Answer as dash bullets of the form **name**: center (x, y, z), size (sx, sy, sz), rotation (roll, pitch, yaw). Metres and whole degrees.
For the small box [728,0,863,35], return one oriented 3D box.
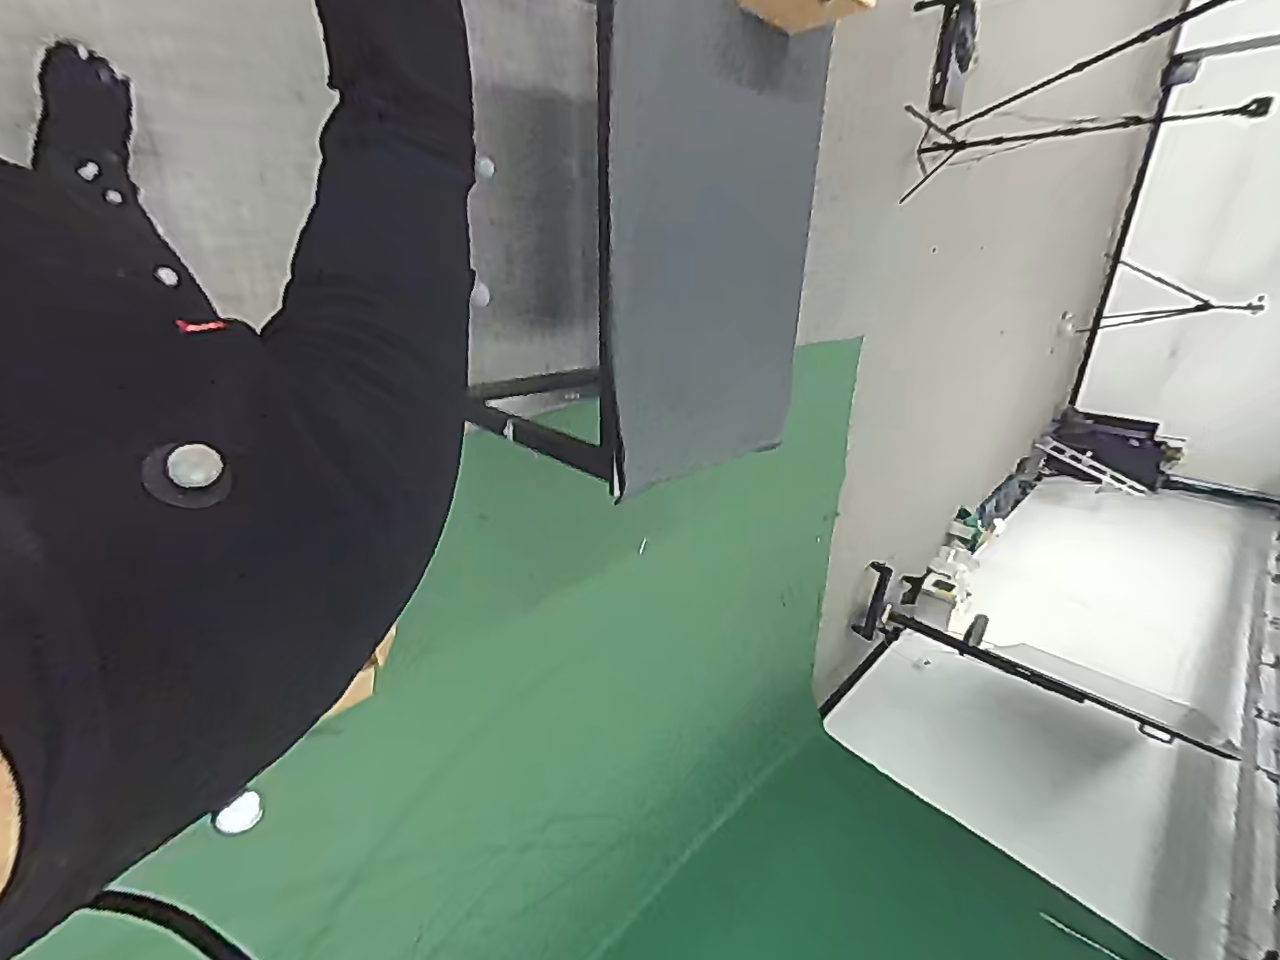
- **small box**: center (0.273, -0.893, 0.918), size (0.179, 0.176, 0.168), rotation (-17, 119, -40)
